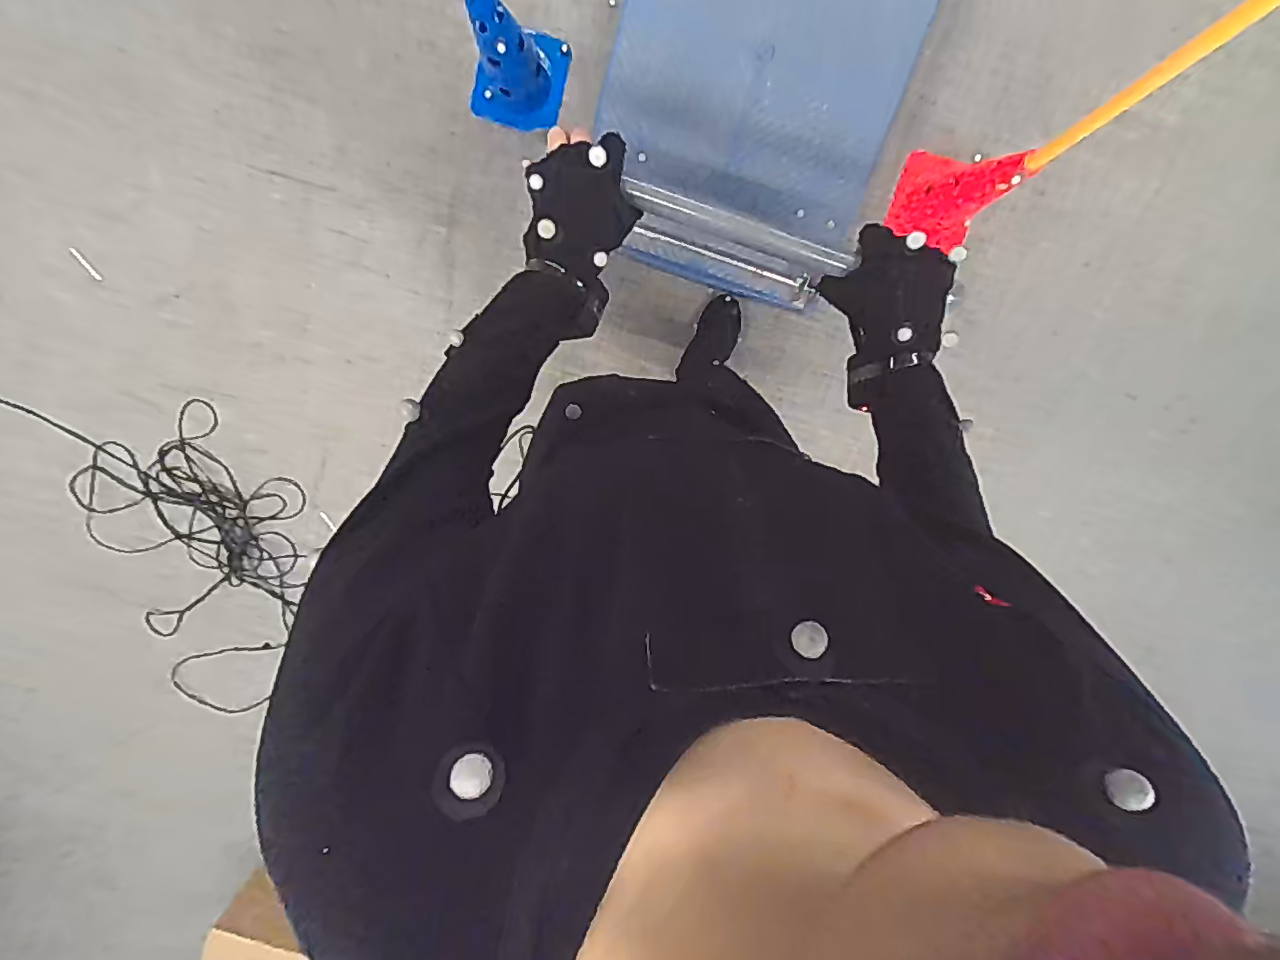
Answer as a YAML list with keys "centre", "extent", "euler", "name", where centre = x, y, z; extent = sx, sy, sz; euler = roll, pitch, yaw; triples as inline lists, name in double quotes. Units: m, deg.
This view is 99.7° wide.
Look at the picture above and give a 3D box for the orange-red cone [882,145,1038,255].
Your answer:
- centre: [0.696, -0.619, 1.133]
  extent: [0.199, 0.360, 0.198]
  euler: [16, 104, -2]
  name: "orange-red cone"
